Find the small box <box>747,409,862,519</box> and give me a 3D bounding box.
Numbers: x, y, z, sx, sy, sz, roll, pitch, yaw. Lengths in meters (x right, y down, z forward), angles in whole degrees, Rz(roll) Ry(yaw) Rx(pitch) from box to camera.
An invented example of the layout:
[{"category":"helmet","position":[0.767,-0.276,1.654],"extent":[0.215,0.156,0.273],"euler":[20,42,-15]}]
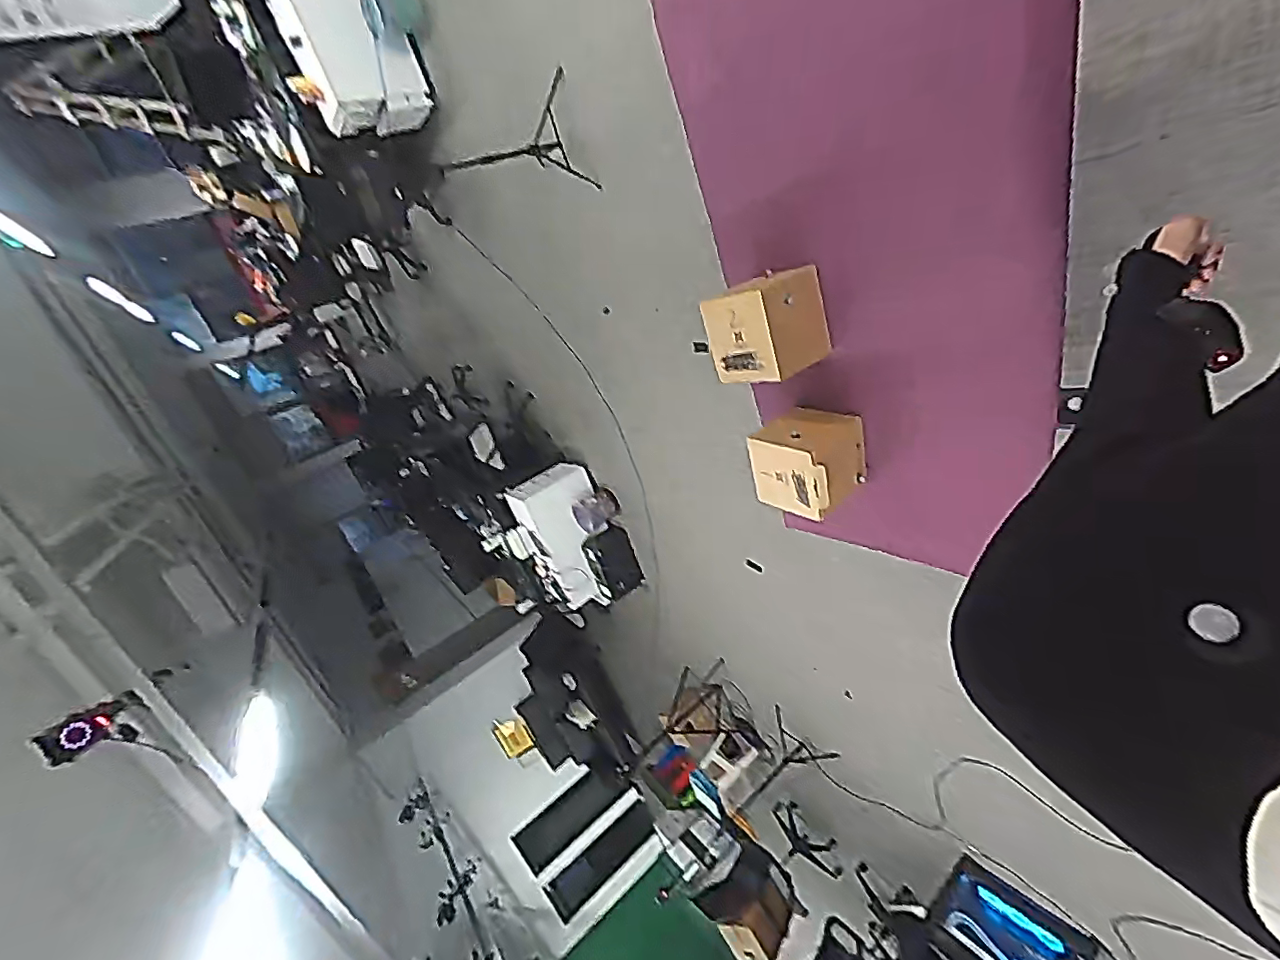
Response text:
[{"category":"small box","position":[0.366,-0.043,1.179],"extent":[0.179,0.176,0.168],"euler":[21,135,51]}]
